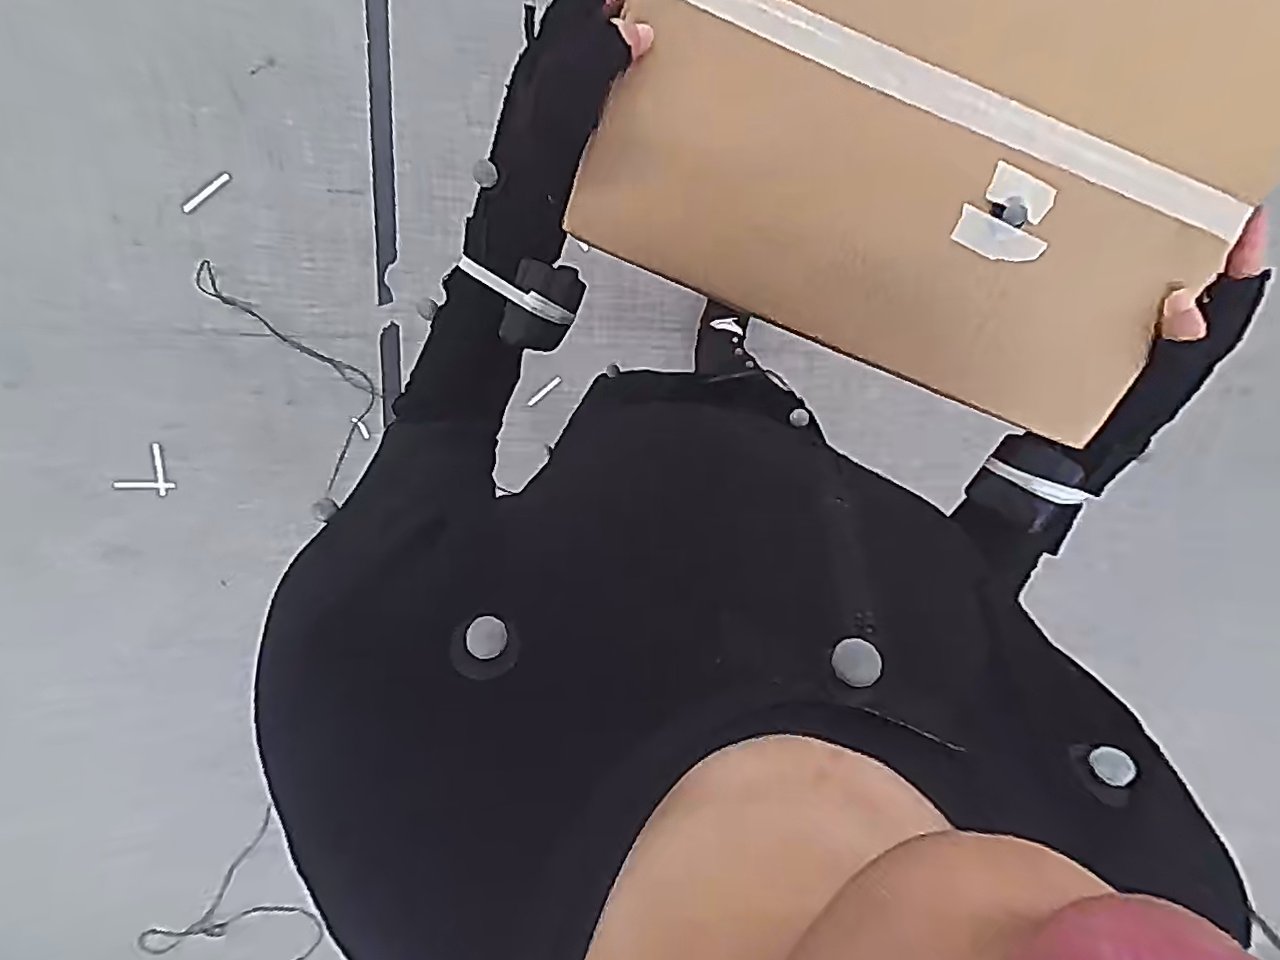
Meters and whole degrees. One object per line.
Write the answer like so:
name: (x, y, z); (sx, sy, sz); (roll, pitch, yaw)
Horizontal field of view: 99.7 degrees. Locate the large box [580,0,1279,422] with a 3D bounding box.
large box: (0.201, -0.294, 0.483); (0.408, 0.320, 0.320); (22, 111, -4)
